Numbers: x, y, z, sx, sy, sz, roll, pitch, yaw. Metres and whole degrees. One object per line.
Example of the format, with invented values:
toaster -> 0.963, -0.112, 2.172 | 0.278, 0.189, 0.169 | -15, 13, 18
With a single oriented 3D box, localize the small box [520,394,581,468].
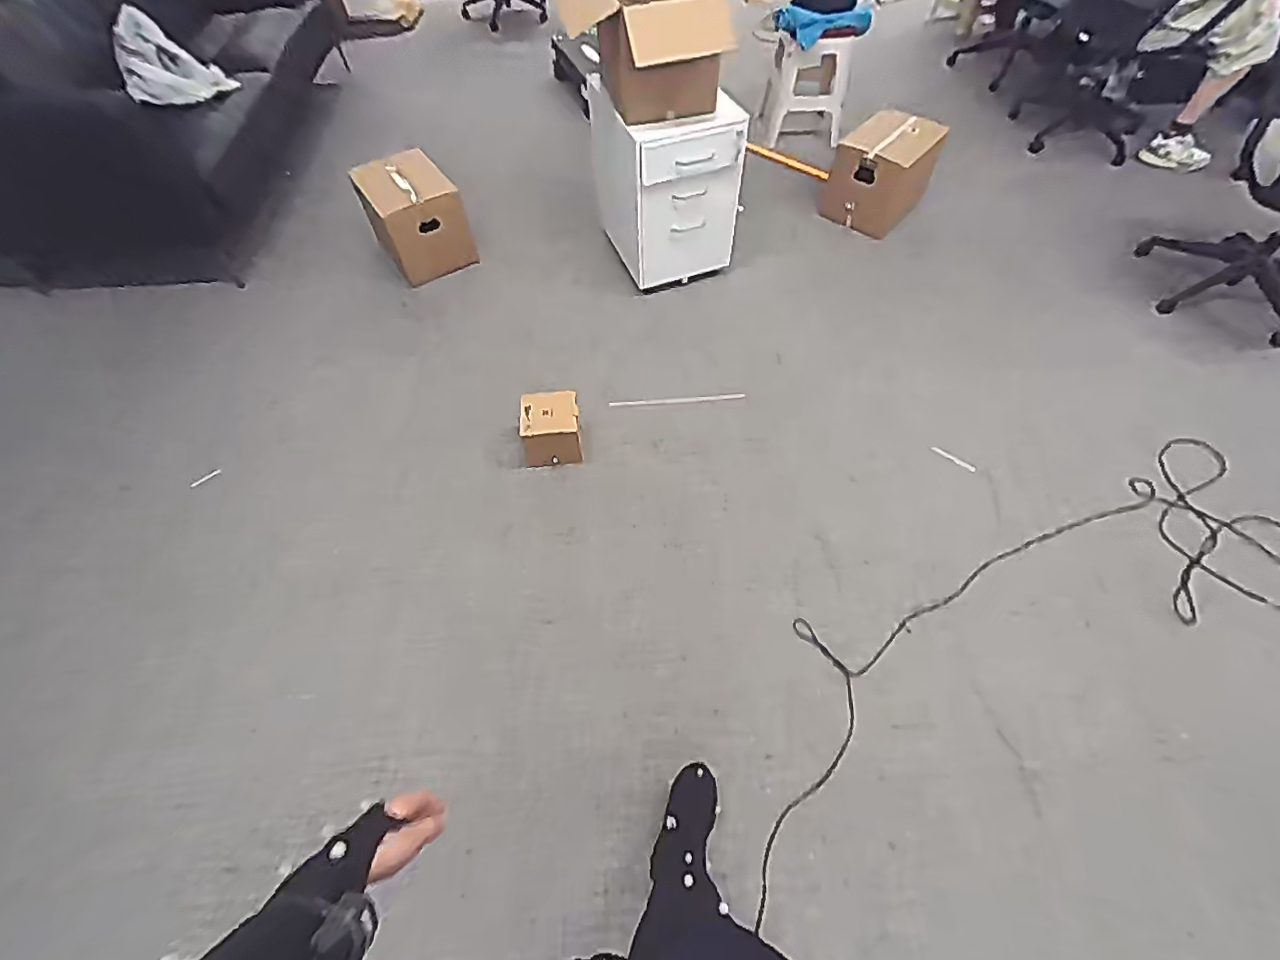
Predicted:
small box -> -0.281, -0.155, 1.735 | 0.179, 0.176, 0.168 | -5, 57, -2
